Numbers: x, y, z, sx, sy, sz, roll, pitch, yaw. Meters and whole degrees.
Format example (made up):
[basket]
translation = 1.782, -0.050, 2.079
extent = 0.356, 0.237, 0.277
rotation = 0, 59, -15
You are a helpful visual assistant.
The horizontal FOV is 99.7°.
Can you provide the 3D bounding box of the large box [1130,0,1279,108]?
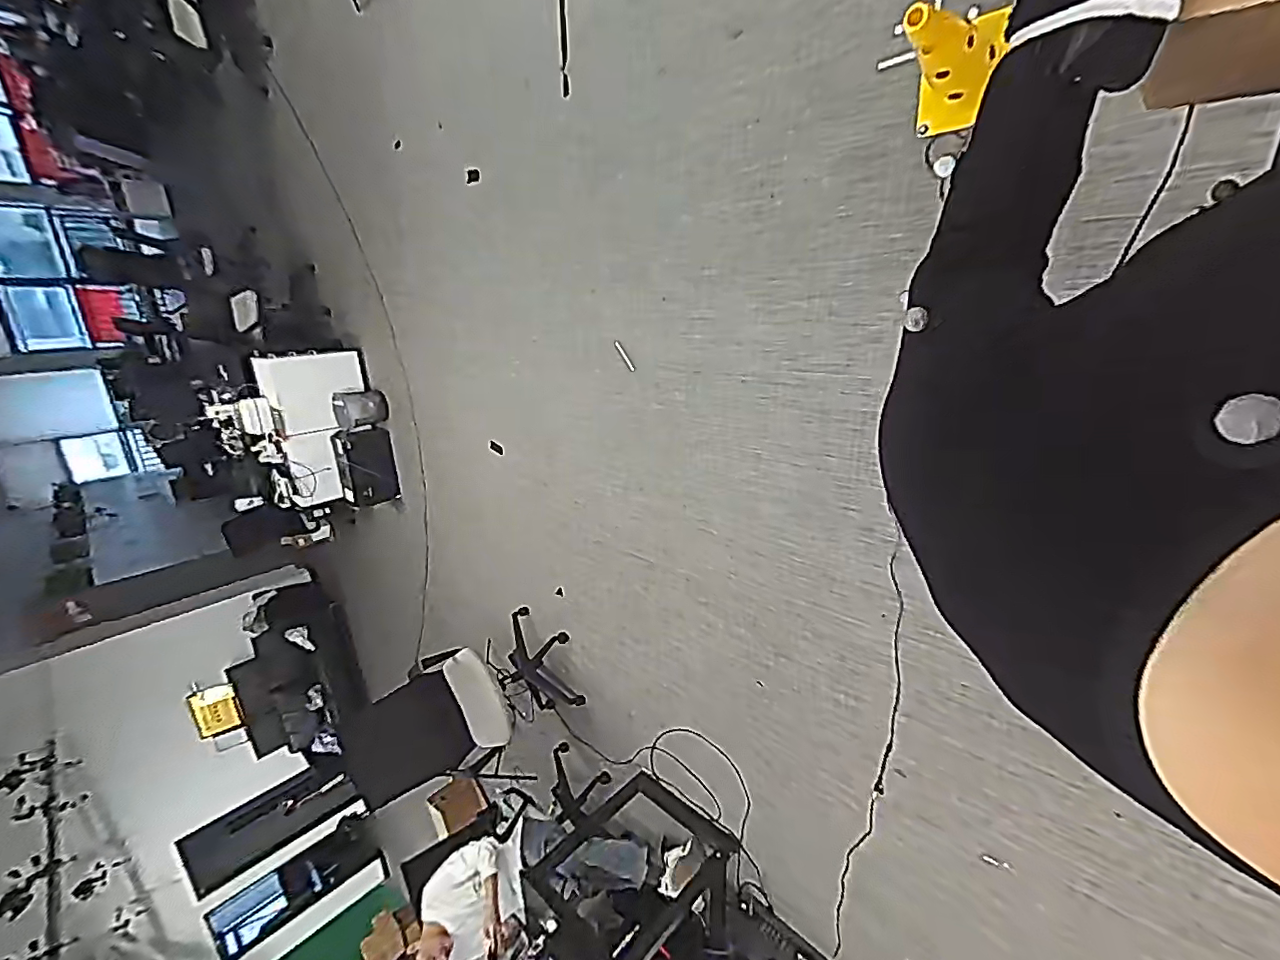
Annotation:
[large box]
translation = 0.554, -0.435, 0.273
extent = 0.408, 0.320, 0.320
rotation = 17, 119, 39
